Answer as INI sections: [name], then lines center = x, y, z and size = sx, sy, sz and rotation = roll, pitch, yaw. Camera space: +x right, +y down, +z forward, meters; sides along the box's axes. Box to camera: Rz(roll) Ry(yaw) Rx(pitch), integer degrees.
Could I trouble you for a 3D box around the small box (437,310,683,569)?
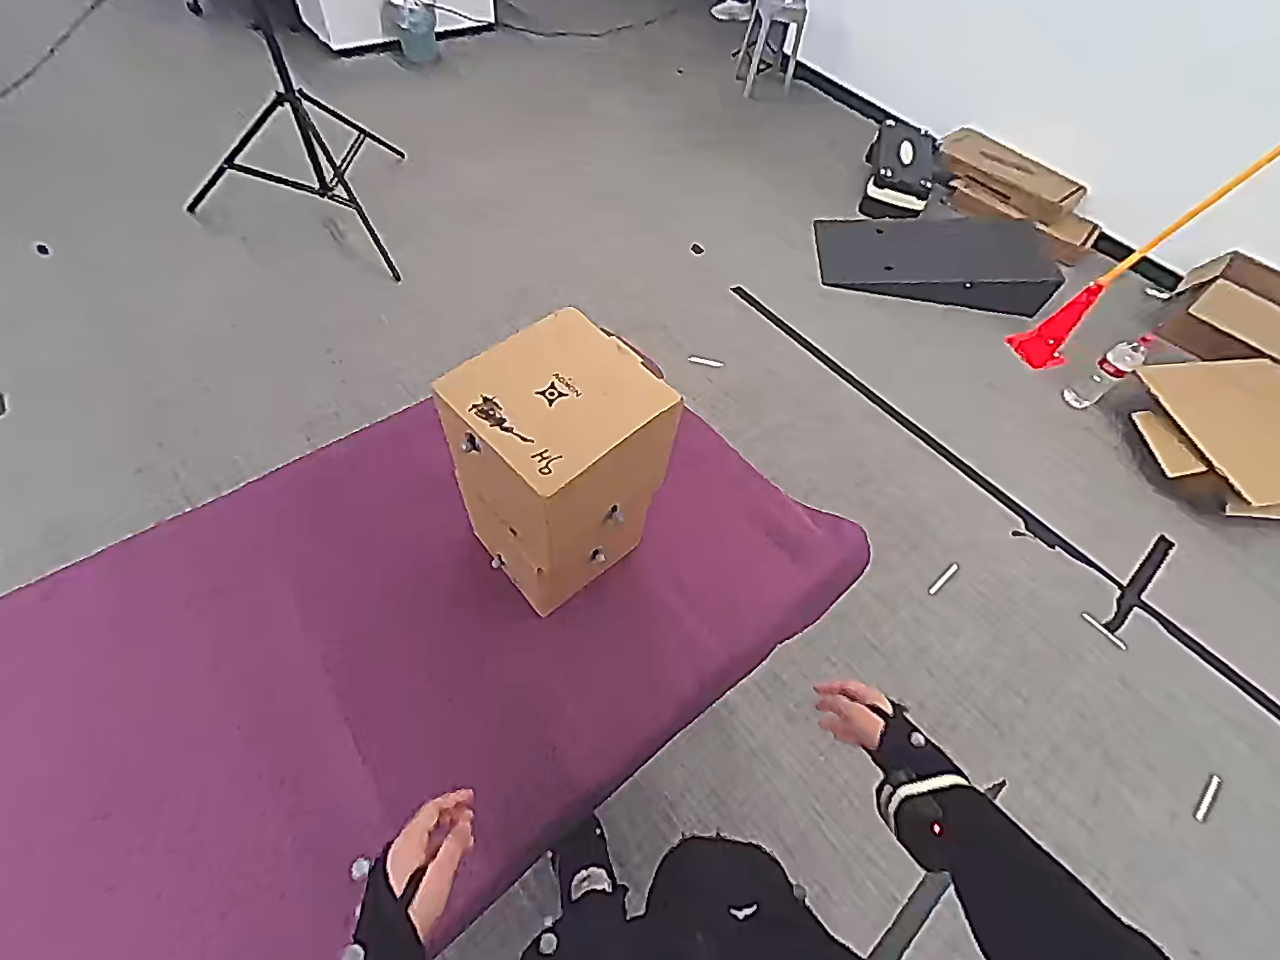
[small box]
center = -0.083, -0.039, 0.575
size = 0.168, 0.176, 0.179
rotation = 42, 61, 19
